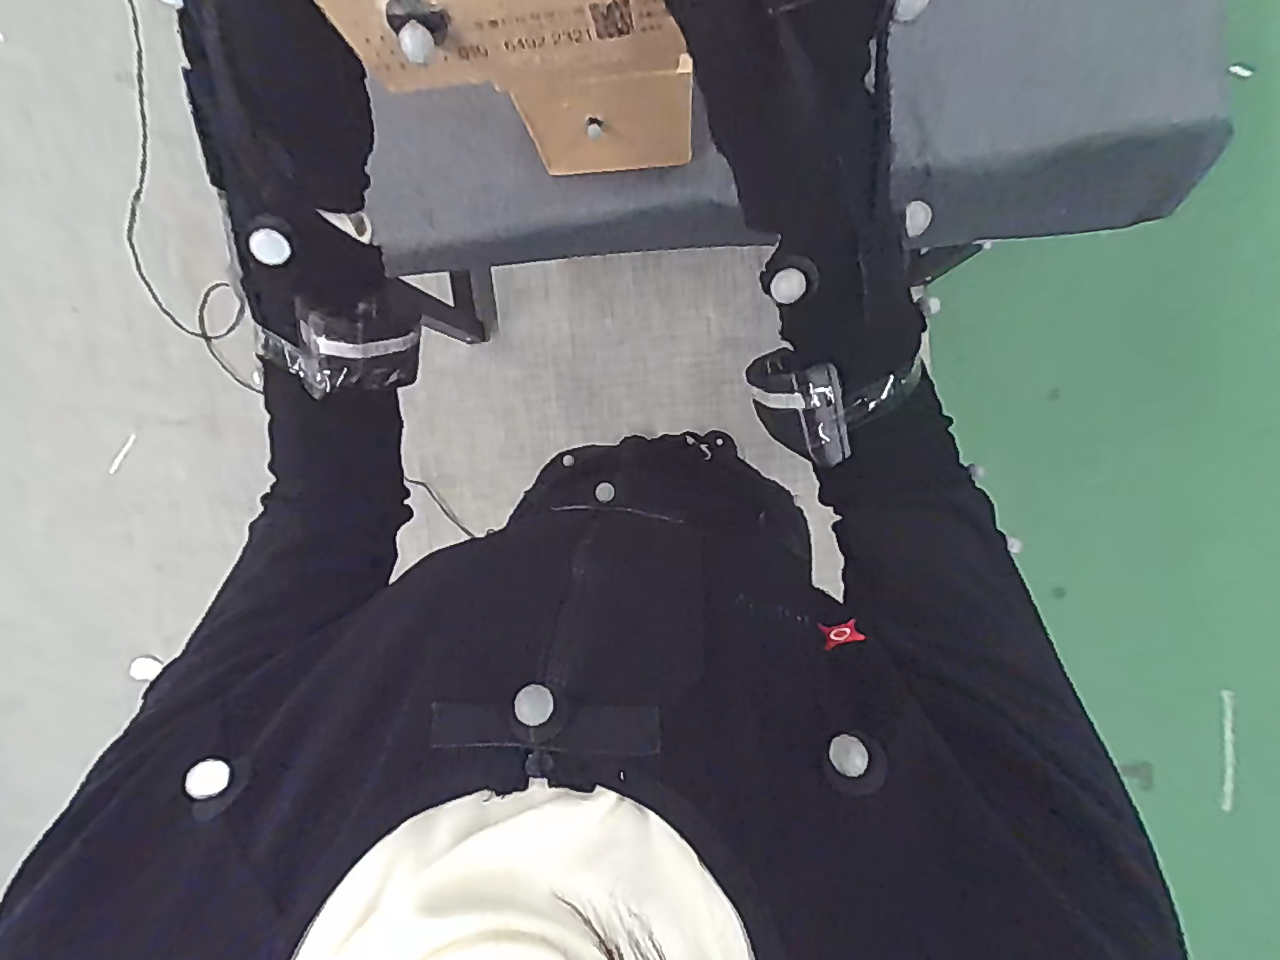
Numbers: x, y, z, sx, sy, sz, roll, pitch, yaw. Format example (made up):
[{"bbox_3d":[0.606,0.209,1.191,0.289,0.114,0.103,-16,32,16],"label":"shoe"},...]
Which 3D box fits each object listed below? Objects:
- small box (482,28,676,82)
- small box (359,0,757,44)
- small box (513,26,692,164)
[{"bbox_3d":[-0.059,-0.456,0.423,0.179,0.176,0.168,-4,92,6],"label":"small box"},{"bbox_3d":[-0.041,-0.265,0.148,0.168,0.176,0.179,-1,85,8],"label":"small box"},{"bbox_3d":[-0.033,-0.468,0.584,0.179,0.176,0.168,-2,94,5],"label":"small box"}]
